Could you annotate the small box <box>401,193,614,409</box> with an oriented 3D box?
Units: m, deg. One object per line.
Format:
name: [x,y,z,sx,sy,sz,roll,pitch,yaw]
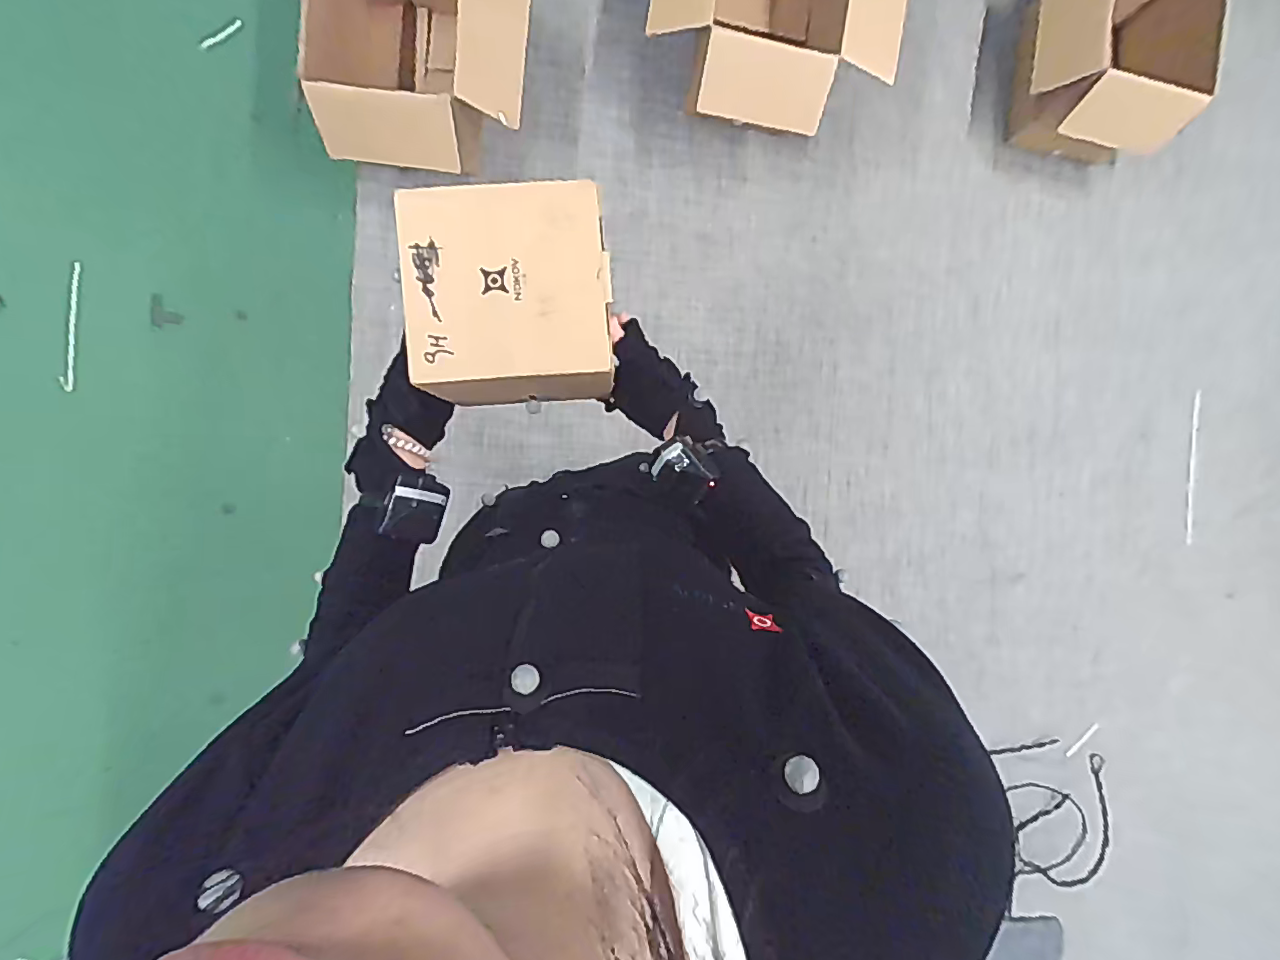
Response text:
small box: [-0.122,-0.167,0.550,0.179,0.176,0.168,-4,90,-5]
